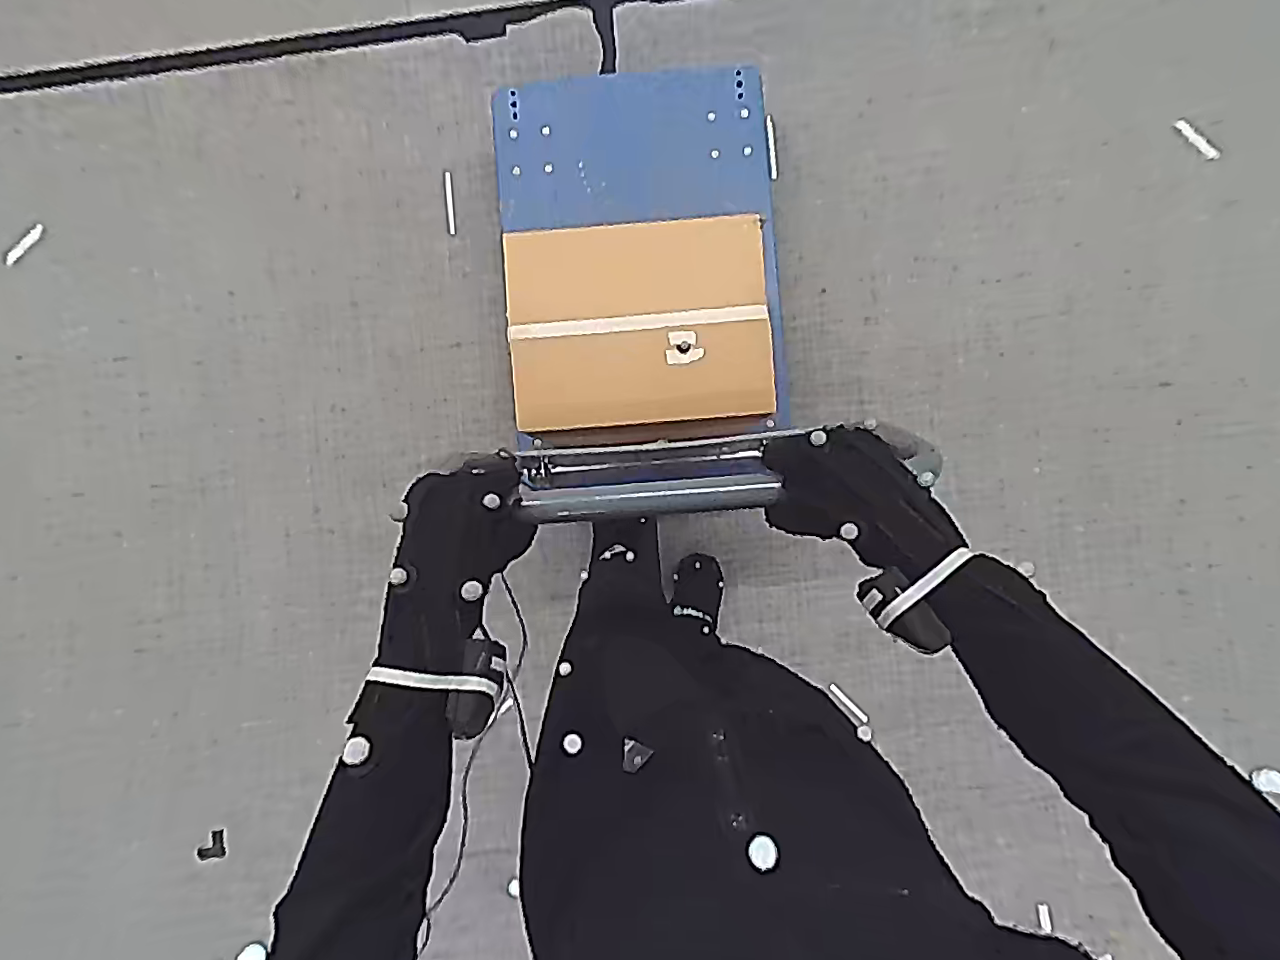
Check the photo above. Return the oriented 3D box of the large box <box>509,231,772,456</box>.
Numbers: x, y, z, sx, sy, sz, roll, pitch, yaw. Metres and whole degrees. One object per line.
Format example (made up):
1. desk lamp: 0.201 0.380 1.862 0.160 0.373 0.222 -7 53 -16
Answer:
1. large box: -0.002 -0.226 1.009 0.408 0.320 0.320 -5 89 0
